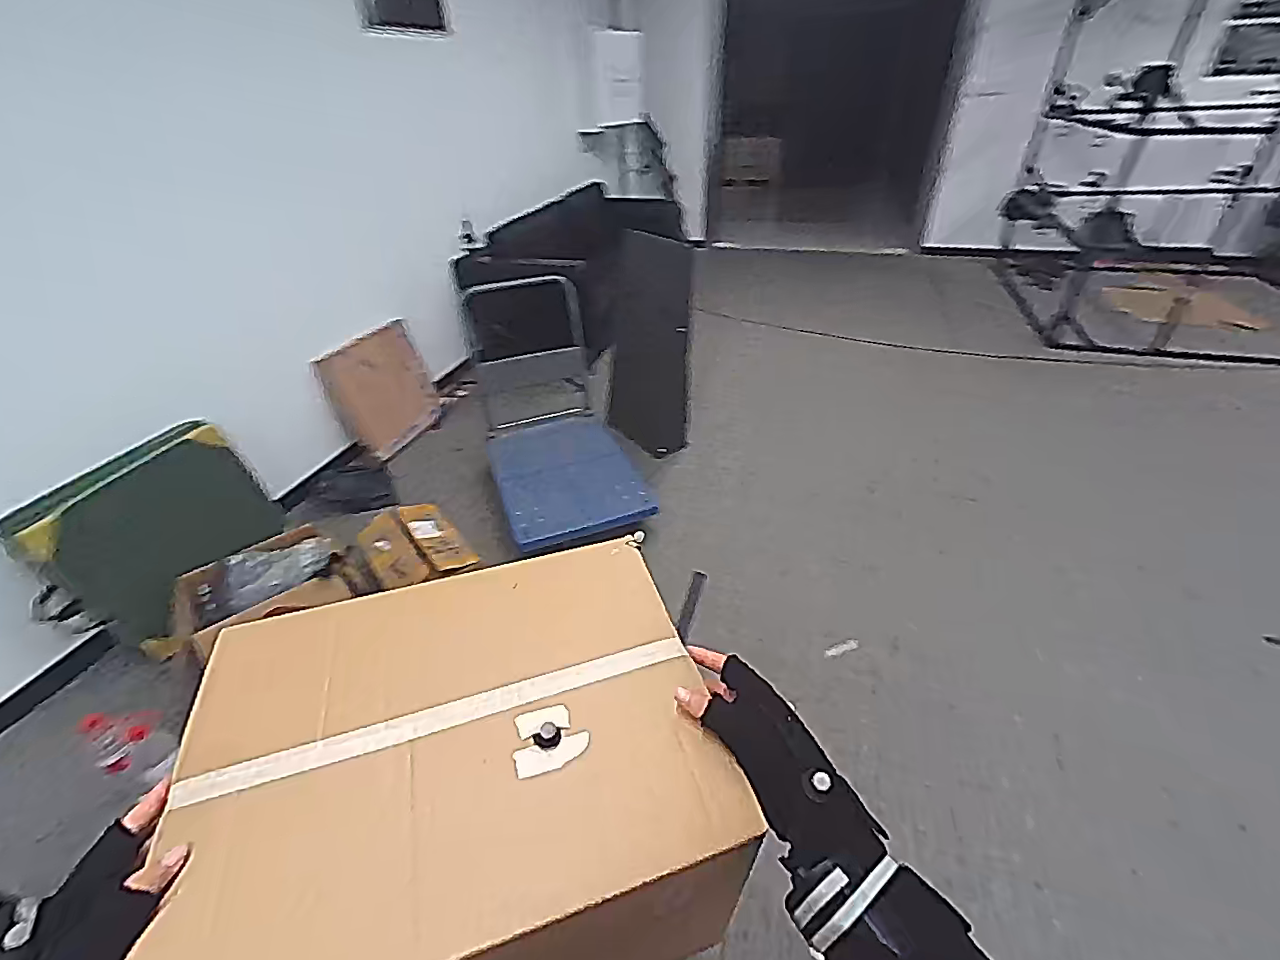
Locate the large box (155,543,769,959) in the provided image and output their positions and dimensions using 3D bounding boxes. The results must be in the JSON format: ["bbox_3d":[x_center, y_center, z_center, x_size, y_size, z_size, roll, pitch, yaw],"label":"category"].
[{"bbox_3d":[-0.142,0.312,0.545,0.408,0.320,0.320,-10,40,-15],"label":"large box"}]
